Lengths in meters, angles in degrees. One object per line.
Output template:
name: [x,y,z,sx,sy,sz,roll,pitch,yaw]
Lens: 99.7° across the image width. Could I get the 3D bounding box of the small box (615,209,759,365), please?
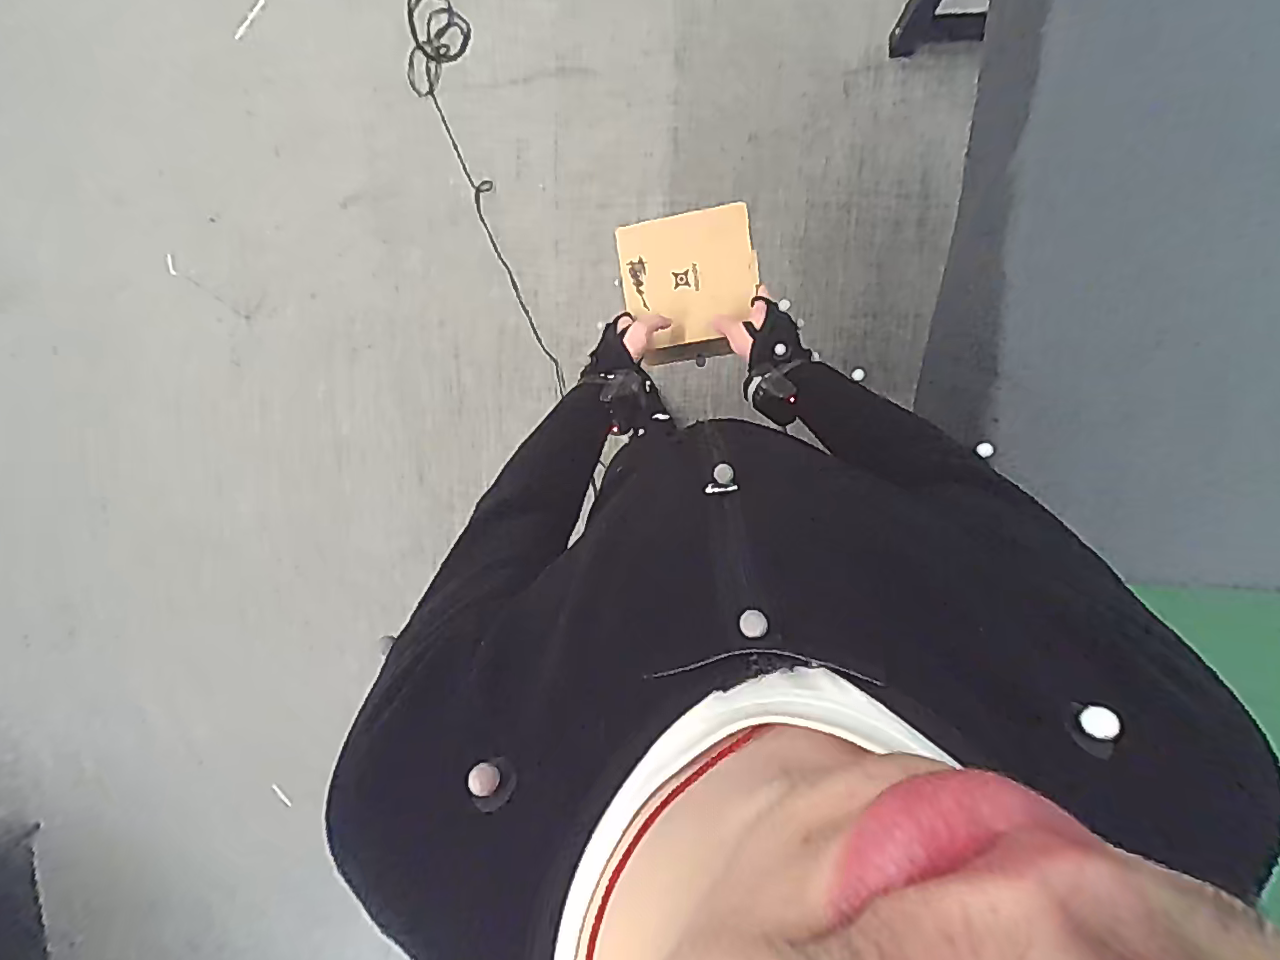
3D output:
small box: [0.070,-0.267,0.786,0.179,0.176,0.168,-7,94,8]
